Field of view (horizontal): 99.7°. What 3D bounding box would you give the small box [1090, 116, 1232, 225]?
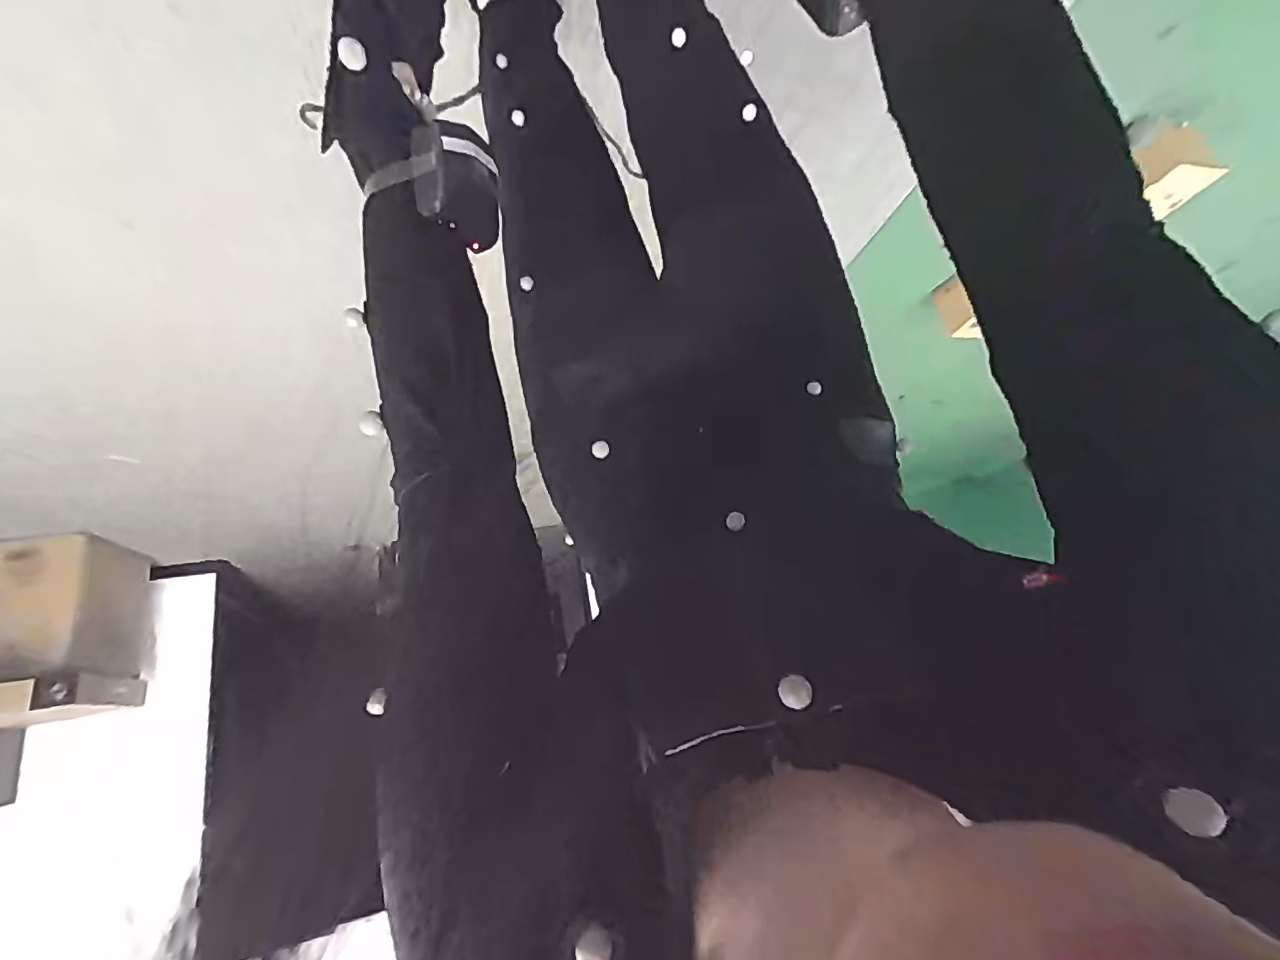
[{"bbox_3d":[1.296,-0.775,1.358,0.179,0.176,0.168,-4,161,-17],"label":"small box"}]
